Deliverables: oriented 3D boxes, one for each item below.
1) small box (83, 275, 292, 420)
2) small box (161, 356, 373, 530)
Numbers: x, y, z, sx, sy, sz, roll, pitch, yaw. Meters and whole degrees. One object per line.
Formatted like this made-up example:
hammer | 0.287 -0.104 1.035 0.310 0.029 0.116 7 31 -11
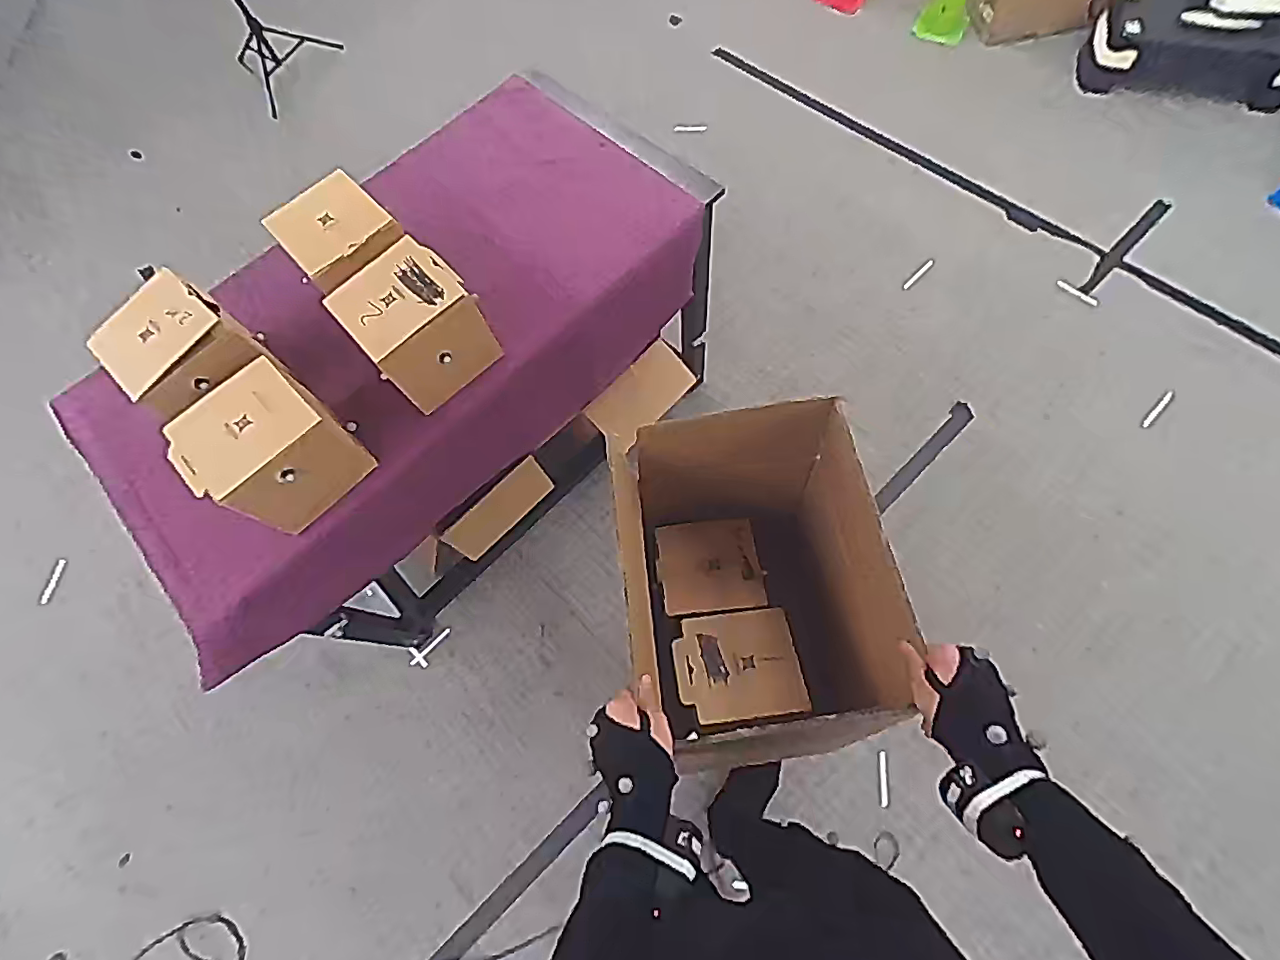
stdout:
small box | -0.743 -0.195 0.906 0.168 0.176 0.179 40 77 16
small box | -0.563 -0.049 0.839 0.168 0.176 0.179 42 77 17
